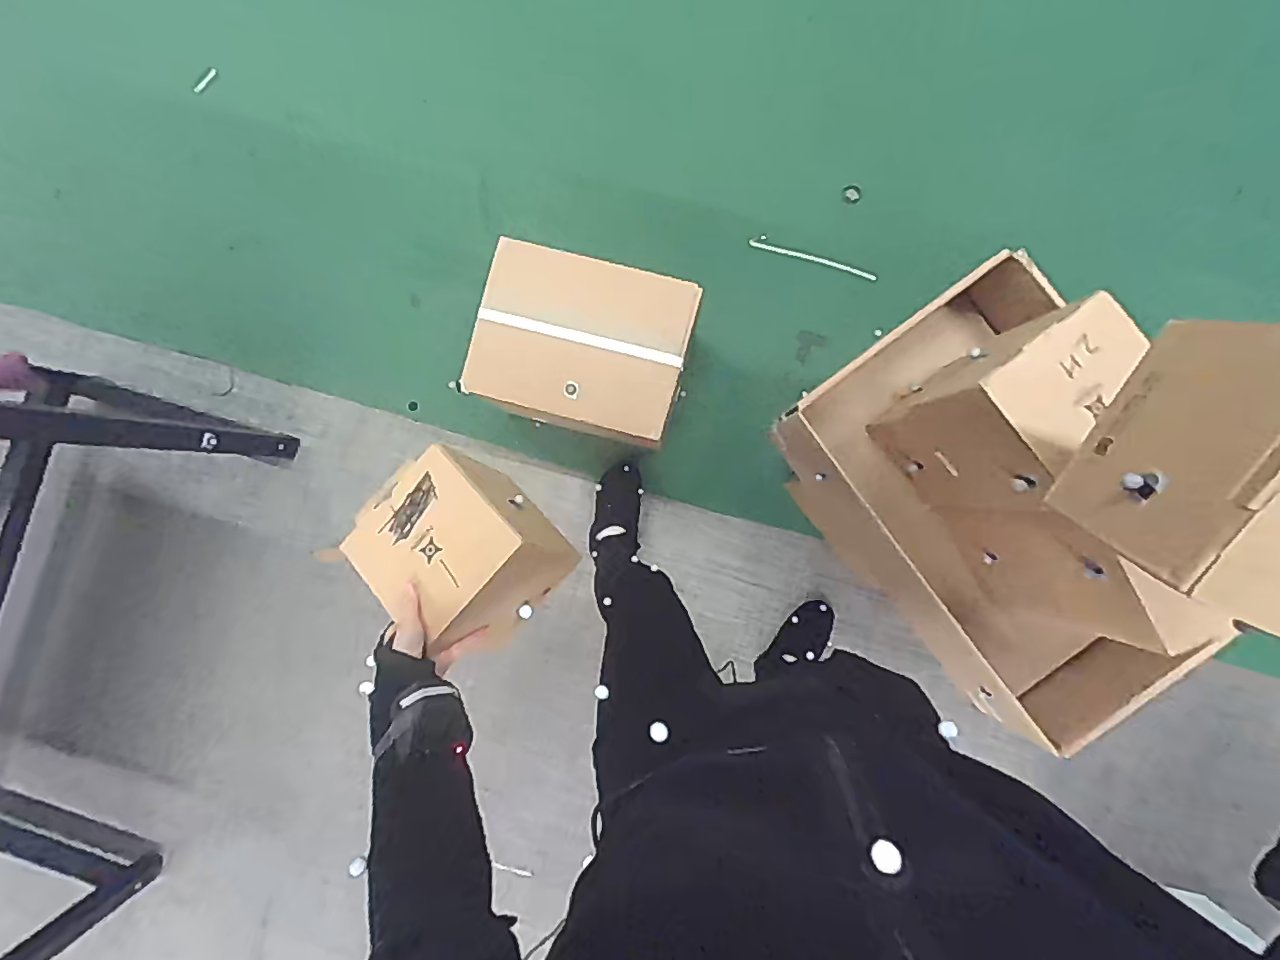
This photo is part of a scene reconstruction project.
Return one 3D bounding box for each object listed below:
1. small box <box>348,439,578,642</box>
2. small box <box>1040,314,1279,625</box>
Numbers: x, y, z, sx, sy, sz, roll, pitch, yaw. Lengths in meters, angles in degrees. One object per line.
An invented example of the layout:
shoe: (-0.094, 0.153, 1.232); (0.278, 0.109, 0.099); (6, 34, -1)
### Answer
small box: (-0.211, 0.084, 0.677); (0.168, 0.176, 0.179); (-47, 68, 1)
small box: (0.429, -0.003, 0.363); (0.179, 0.176, 0.168); (23, 110, 3)
